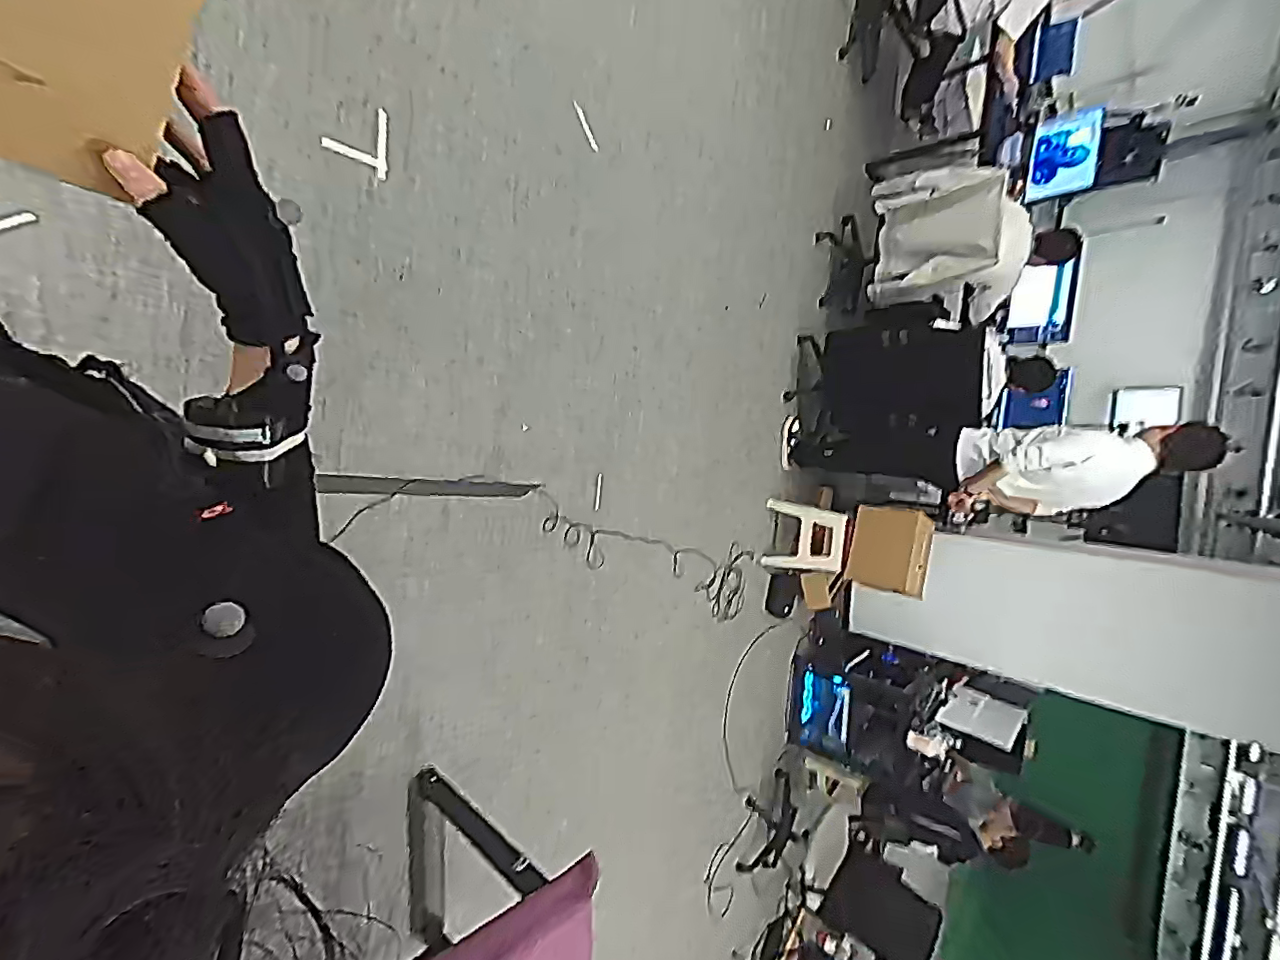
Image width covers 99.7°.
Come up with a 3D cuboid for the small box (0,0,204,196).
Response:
[{"bbox_3d":[-0.337,-0.290,0.261,0.179,0.176,0.168,-51,150,19],"label":"small box"}]
